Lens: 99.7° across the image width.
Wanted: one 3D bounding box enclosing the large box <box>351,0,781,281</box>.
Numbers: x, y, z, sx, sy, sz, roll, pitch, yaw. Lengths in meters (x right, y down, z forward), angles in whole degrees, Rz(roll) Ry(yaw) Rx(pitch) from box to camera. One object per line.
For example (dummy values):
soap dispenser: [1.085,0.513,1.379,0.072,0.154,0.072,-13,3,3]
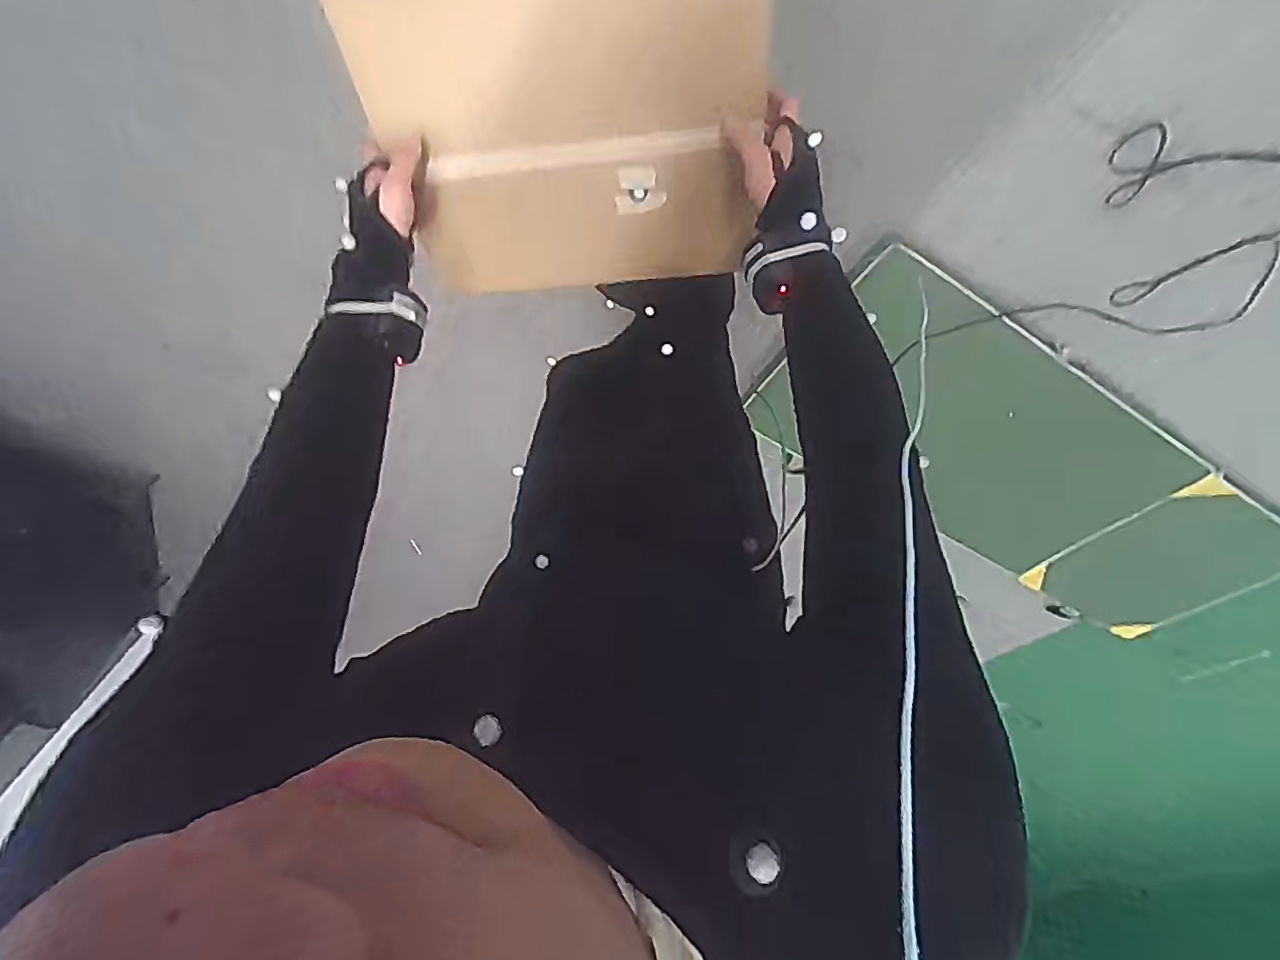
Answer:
large box: [-0.060,-0.483,0.679,0.408,0.320,0.320,-3,140,4]
